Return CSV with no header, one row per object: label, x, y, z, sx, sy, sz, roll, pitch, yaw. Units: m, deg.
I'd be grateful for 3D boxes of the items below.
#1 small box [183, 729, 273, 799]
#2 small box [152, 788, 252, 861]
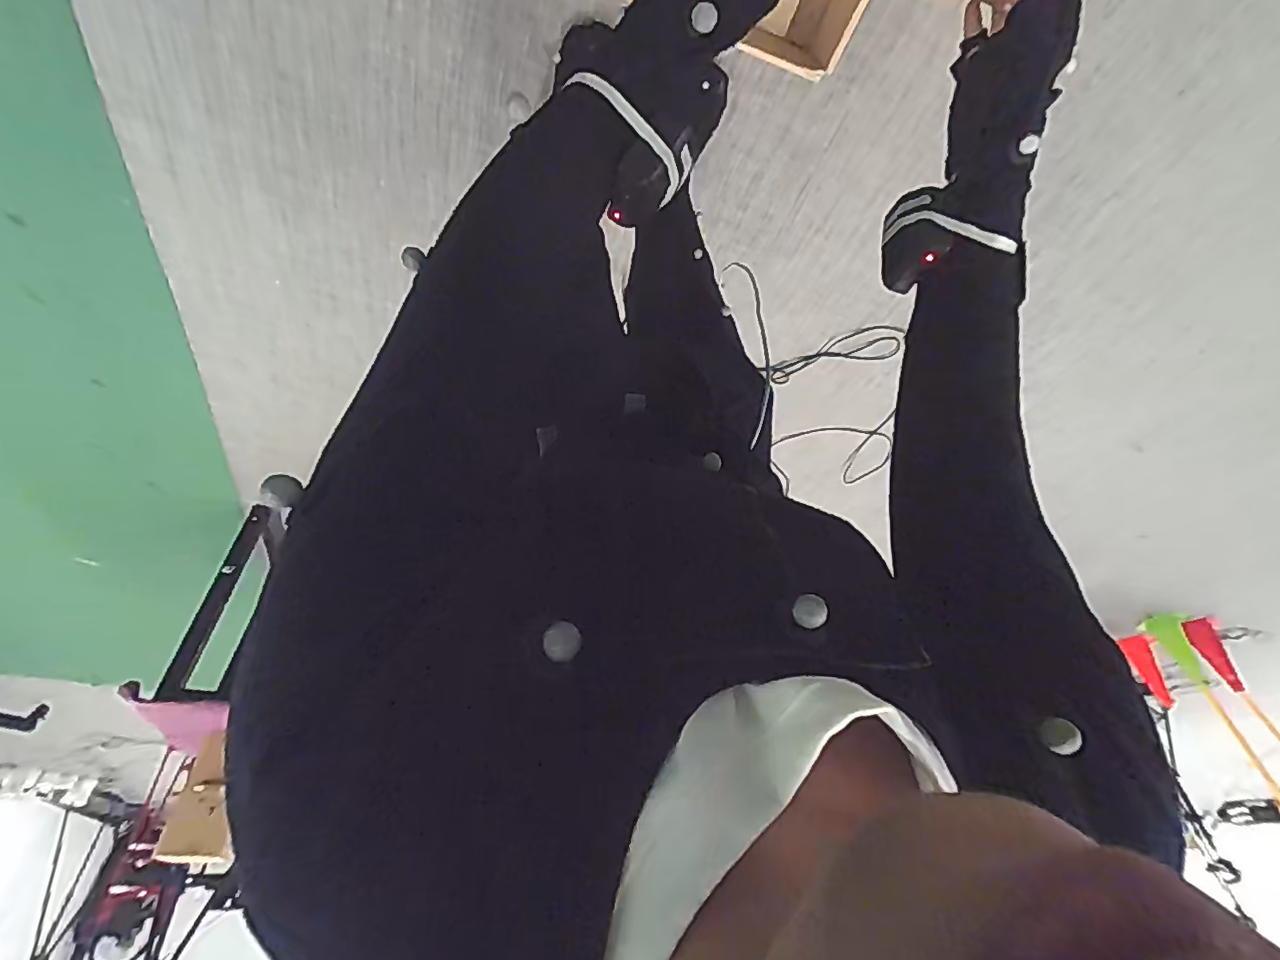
small box,-1.316,0.918,1.743,0.168,0.176,0.179,11,140,-16
small box,-1.317,1.048,1.643,0.168,0.176,0.179,11,139,-16
